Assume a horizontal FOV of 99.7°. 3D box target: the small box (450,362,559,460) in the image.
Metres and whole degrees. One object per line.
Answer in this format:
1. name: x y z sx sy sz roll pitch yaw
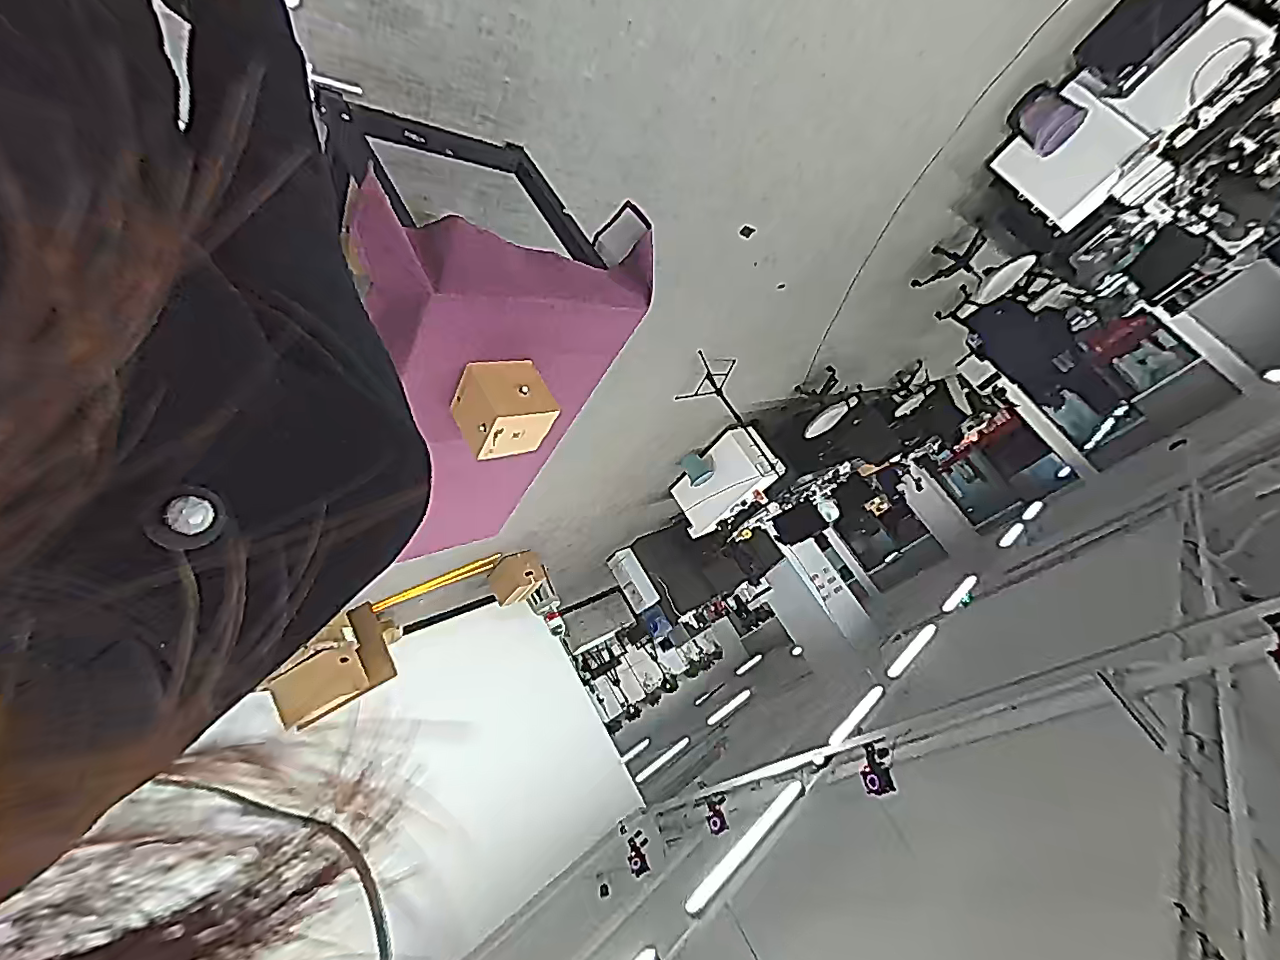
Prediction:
1. small box: -0.336 -0.176 1.332 0.179 0.176 0.168 -16 156 -43
